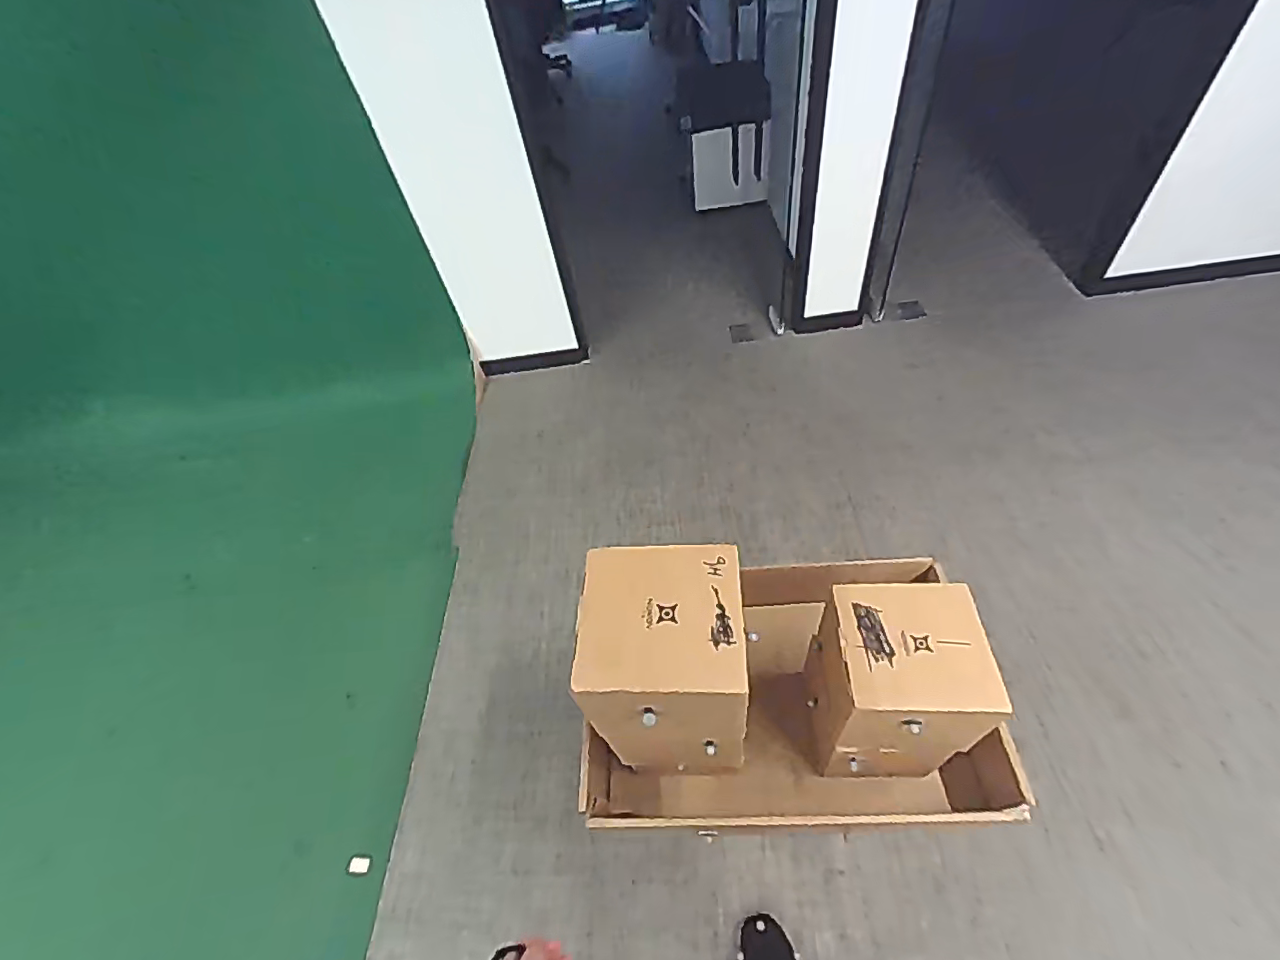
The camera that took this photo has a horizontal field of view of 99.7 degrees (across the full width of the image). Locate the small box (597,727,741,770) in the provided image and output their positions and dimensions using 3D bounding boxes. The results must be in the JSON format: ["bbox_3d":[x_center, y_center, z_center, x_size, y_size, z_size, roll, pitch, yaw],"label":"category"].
[{"bbox_3d":[0.048,0.296,0.755,0.179,0.176,0.168,-3,50,7],"label":"small box"}]

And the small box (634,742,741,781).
[{"bbox_3d":[0.072,0.387,0.888,0.179,0.176,0.168,-3,50,7],"label":"small box"}]

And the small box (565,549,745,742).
[{"bbox_3d":[0.028,0.195,0.627,0.179,0.176,0.168,-3,51,8],"label":"small box"}]

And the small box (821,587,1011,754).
[{"bbox_3d":[0.347,0.258,0.726,0.179,0.176,0.168,-2,50,8],"label":"small box"}]
